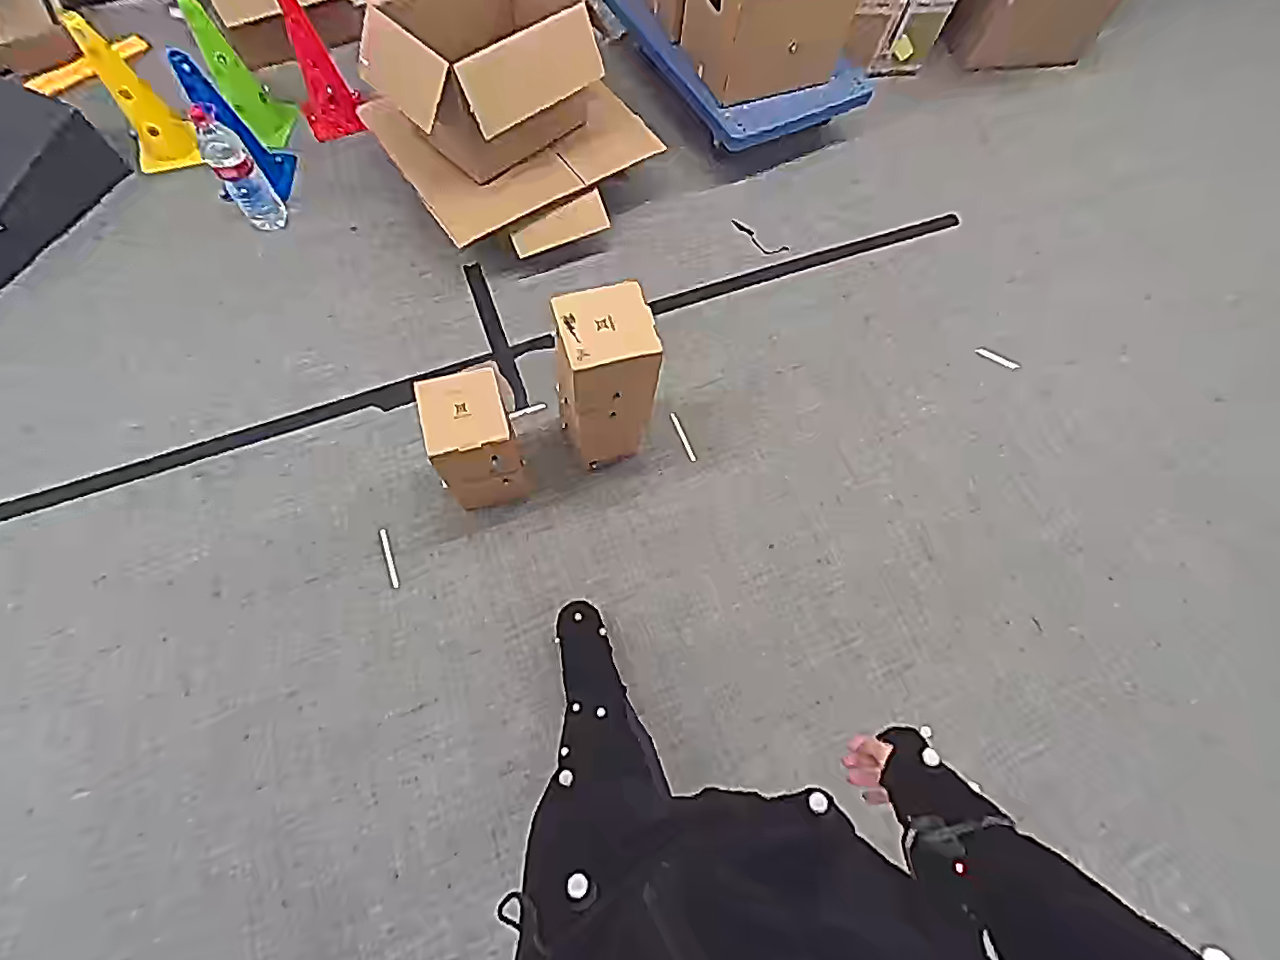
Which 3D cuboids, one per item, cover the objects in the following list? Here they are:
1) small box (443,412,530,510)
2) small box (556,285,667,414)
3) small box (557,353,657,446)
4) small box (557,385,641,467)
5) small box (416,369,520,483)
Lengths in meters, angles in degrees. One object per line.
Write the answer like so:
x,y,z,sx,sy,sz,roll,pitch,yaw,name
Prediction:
-0.377,-0.040,1.313,0.179,0.176,0.168,-14,70,-10,small box
-0.063,-0.252,1.066,0.179,0.176,0.168,-14,71,-11,small box
-0.077,-0.196,1.219,0.179,0.176,0.168,-18,72,-12,small box
-0.101,-0.150,1.377,0.168,0.176,0.179,-20,71,-12,small box
-0.363,-0.107,1.165,0.168,0.176,0.179,-15,70,-12,small box
